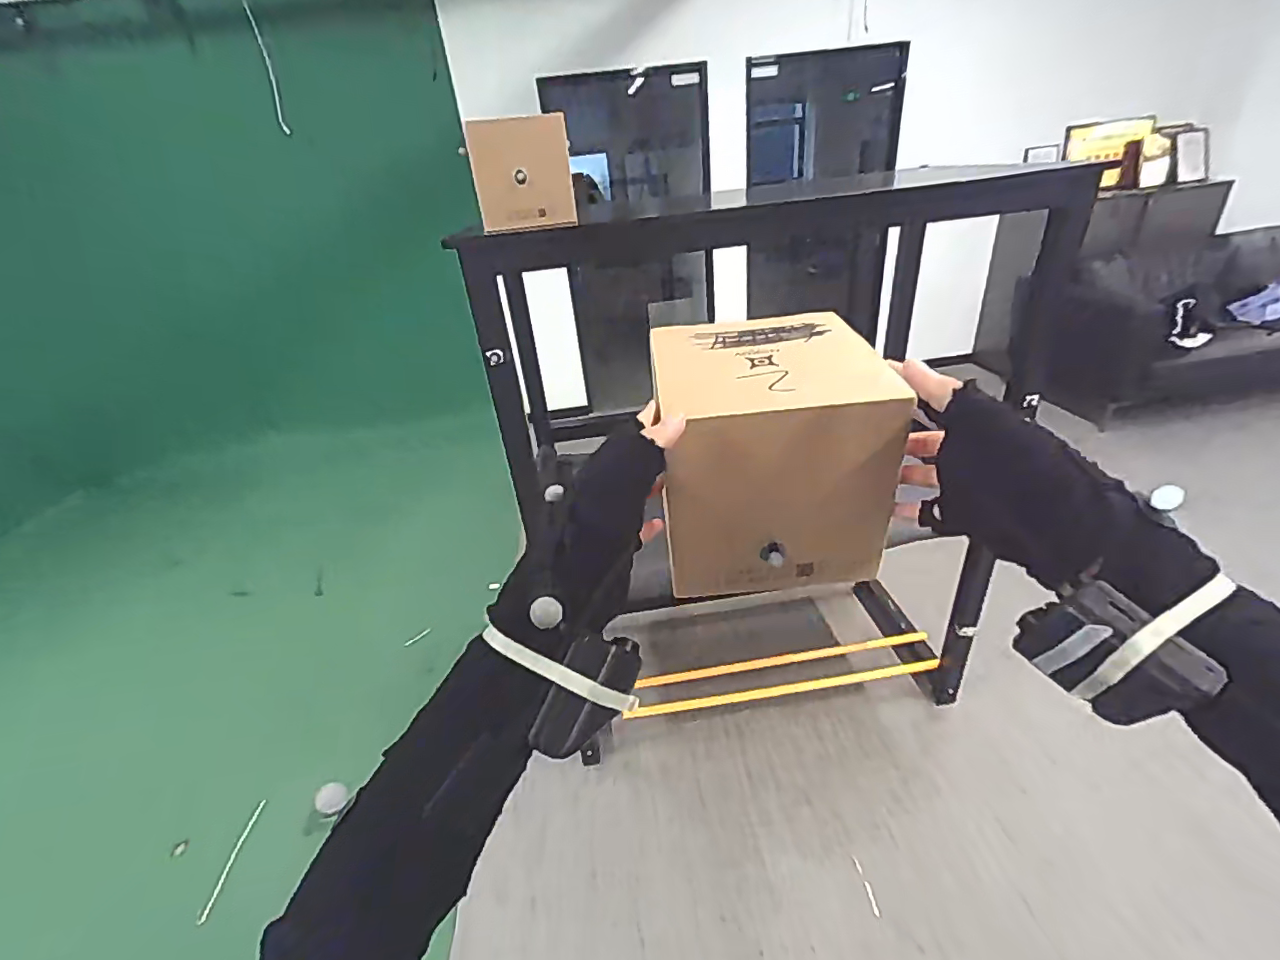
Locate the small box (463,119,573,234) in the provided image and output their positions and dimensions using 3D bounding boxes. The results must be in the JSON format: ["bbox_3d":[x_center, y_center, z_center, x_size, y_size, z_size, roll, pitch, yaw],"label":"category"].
[{"bbox_3d":[-0.225,-0.562,1.015,0.168,0.176,0.179,-11,29,-9],"label":"small box"}]
